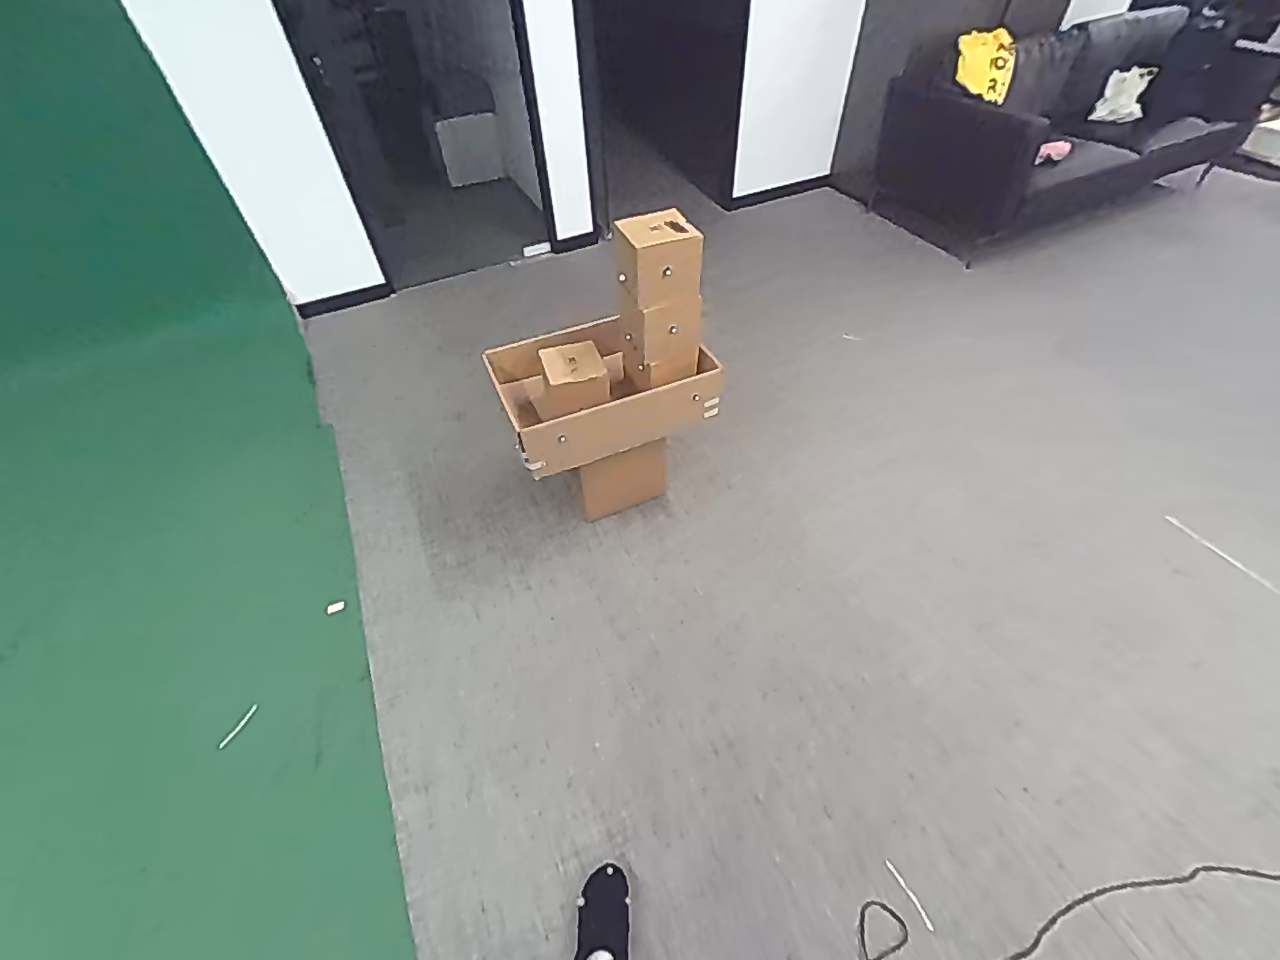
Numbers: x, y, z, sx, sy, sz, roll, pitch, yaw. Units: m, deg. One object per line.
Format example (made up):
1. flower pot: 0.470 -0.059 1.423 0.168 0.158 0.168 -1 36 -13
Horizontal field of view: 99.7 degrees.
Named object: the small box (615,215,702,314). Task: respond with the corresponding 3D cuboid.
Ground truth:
1. small box: 0.045 -0.559 1.406 0.179 0.176 0.168 -18 50 -12
